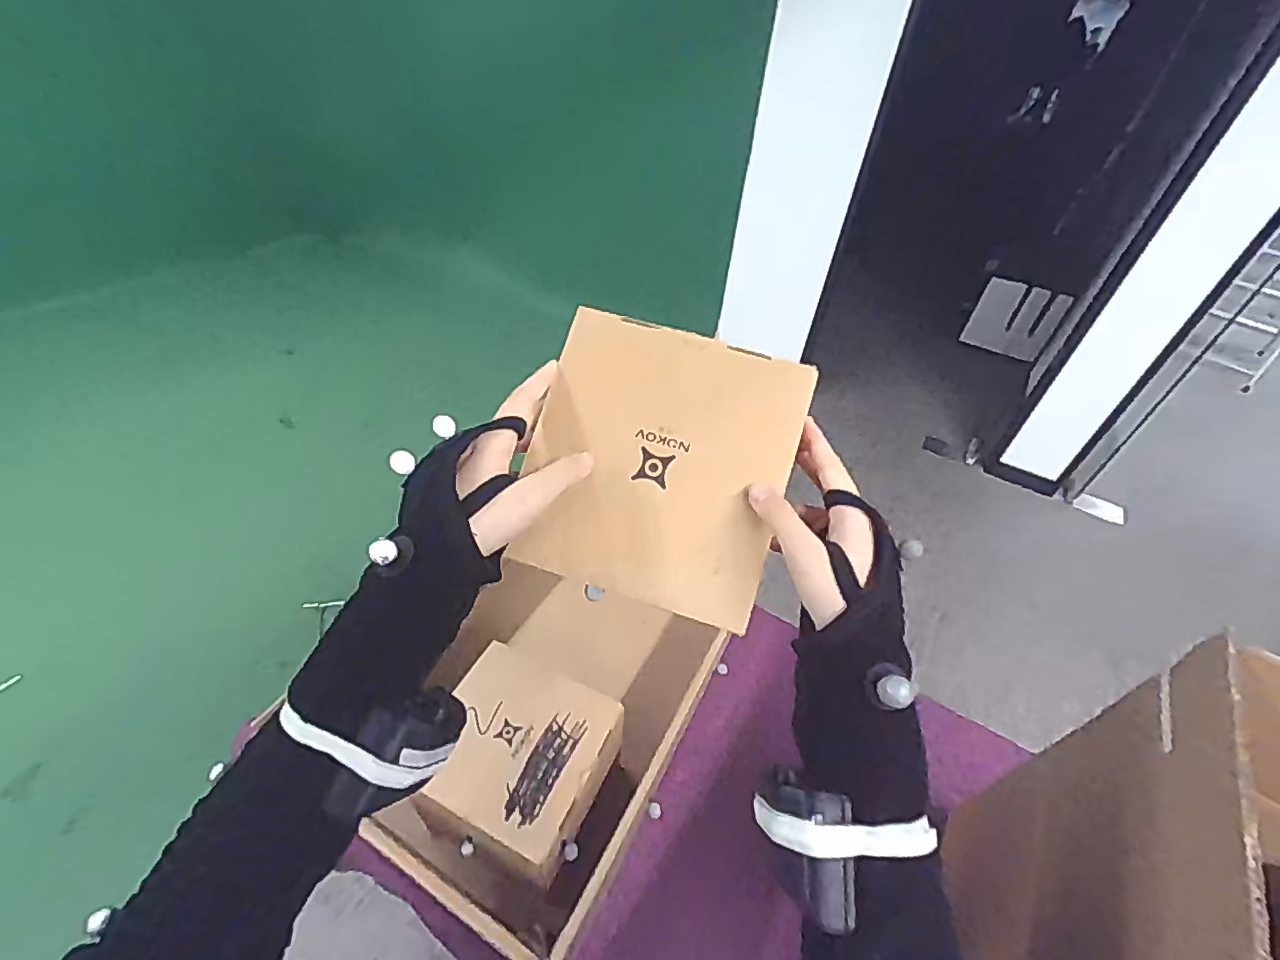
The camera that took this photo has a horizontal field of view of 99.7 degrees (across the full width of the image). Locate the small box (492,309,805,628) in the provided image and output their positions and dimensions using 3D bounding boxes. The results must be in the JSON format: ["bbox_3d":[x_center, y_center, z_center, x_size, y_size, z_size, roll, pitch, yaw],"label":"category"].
[{"bbox_3d":[0.013,0.000,0.427,0.168,0.176,0.179,17,82,8],"label":"small box"}]
